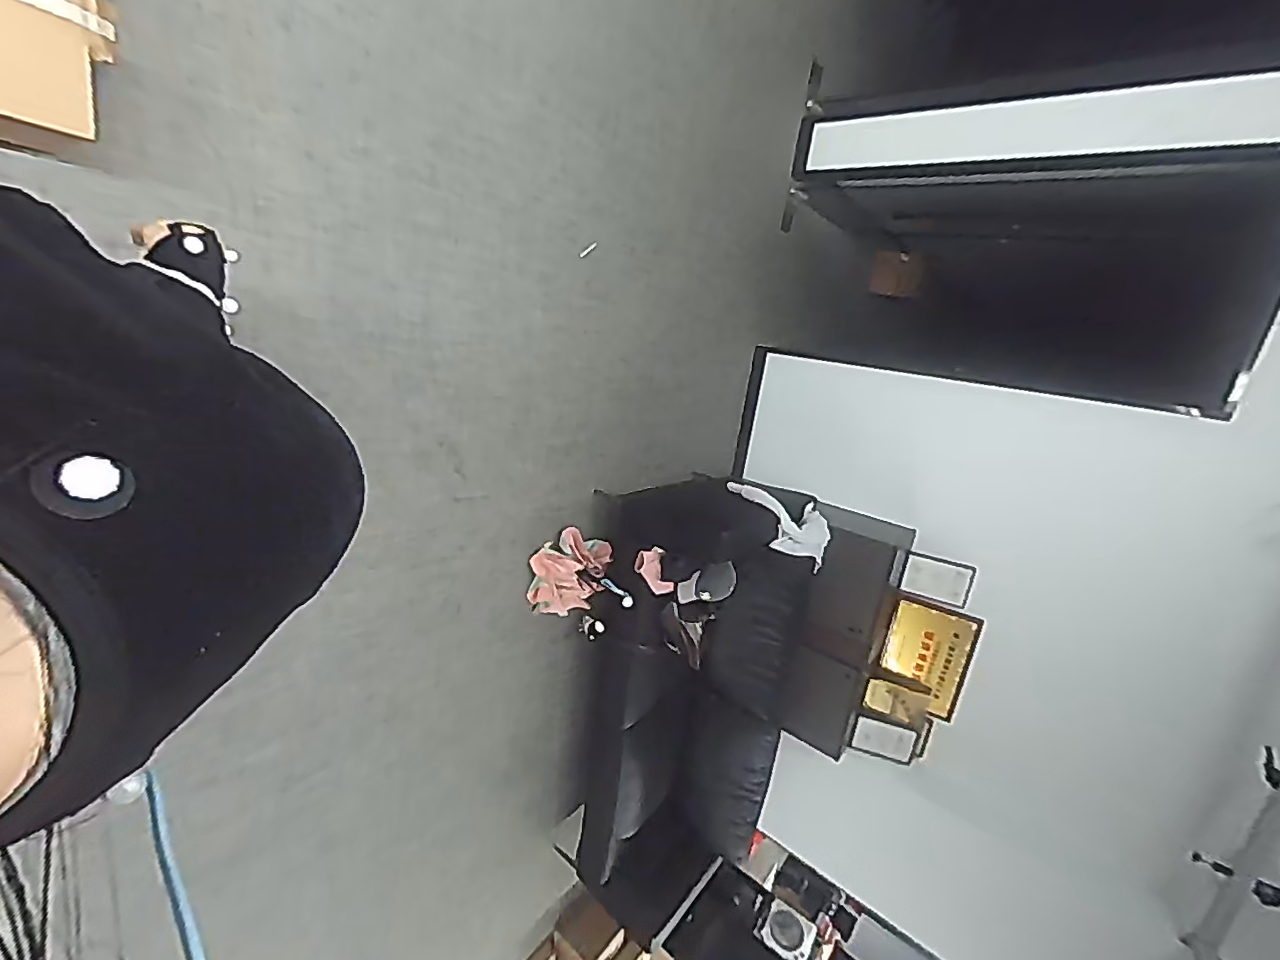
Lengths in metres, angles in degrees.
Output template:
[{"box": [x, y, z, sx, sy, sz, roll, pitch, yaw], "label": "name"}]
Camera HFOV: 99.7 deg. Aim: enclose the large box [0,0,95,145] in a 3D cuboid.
[{"box": [-1.037, -0.688, 0.713, 0.408, 0.320, 0.320, -9, 112, -51], "label": "large box"}]
